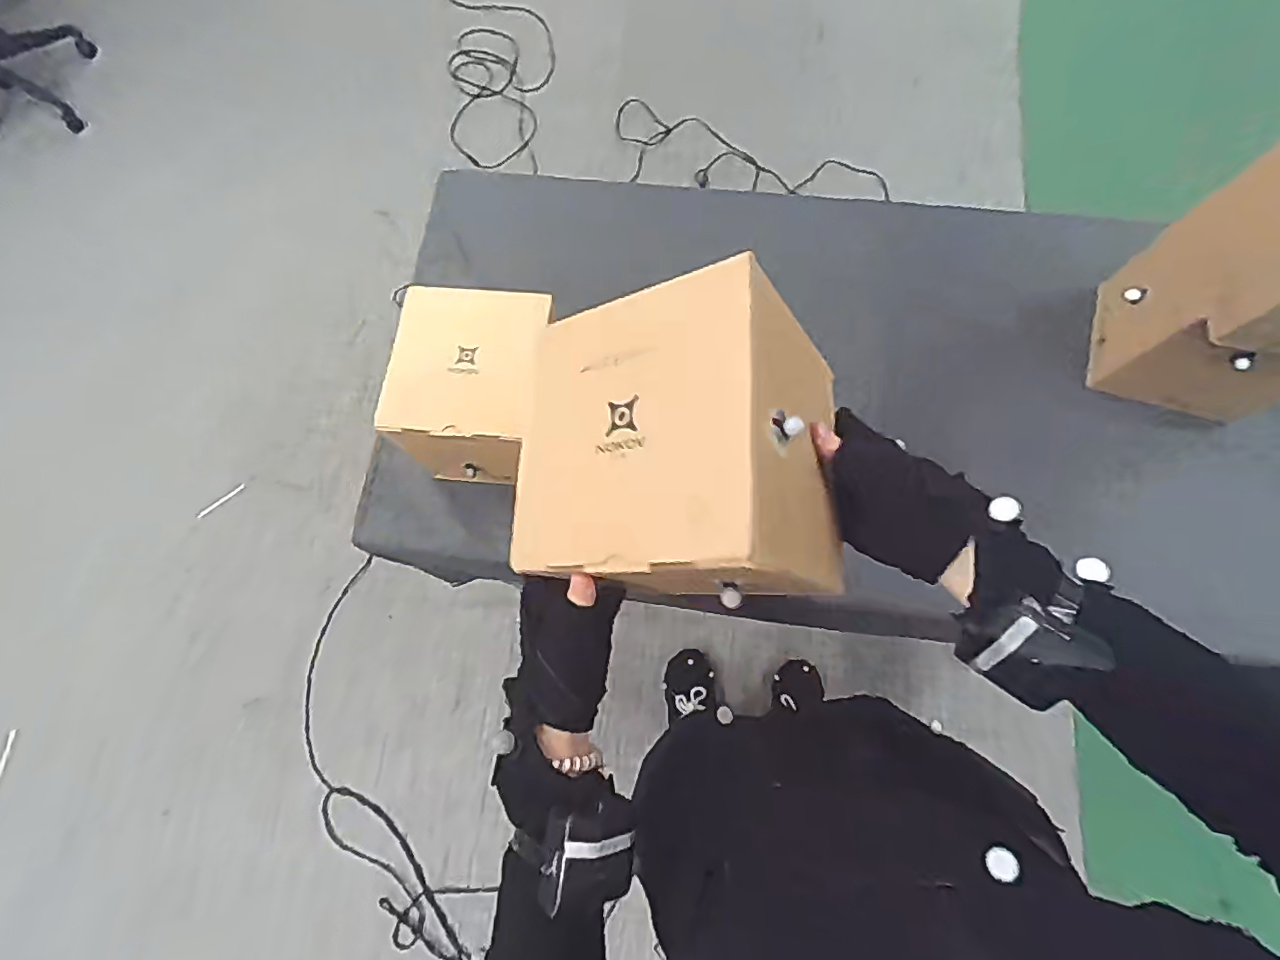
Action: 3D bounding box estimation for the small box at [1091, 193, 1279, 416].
[{"bbox_3d":[0.687,-0.194,0.639,0.179,0.176,0.168,18,76,8],"label":"small box"}]

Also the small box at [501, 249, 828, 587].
[{"bbox_3d":[0.028,-0.018,0.383,0.168,0.176,0.179,-7,71,33],"label":"small box"}]

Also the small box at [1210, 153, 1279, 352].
[{"bbox_3d":[0.668,-0.226,0.478,0.168,0.176,0.179,12,75,7],"label":"small box"}]

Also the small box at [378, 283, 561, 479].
[{"bbox_3d":[-0.180,-0.108,0.653,0.168,0.176,0.179,5,74,3],"label":"small box"}]
